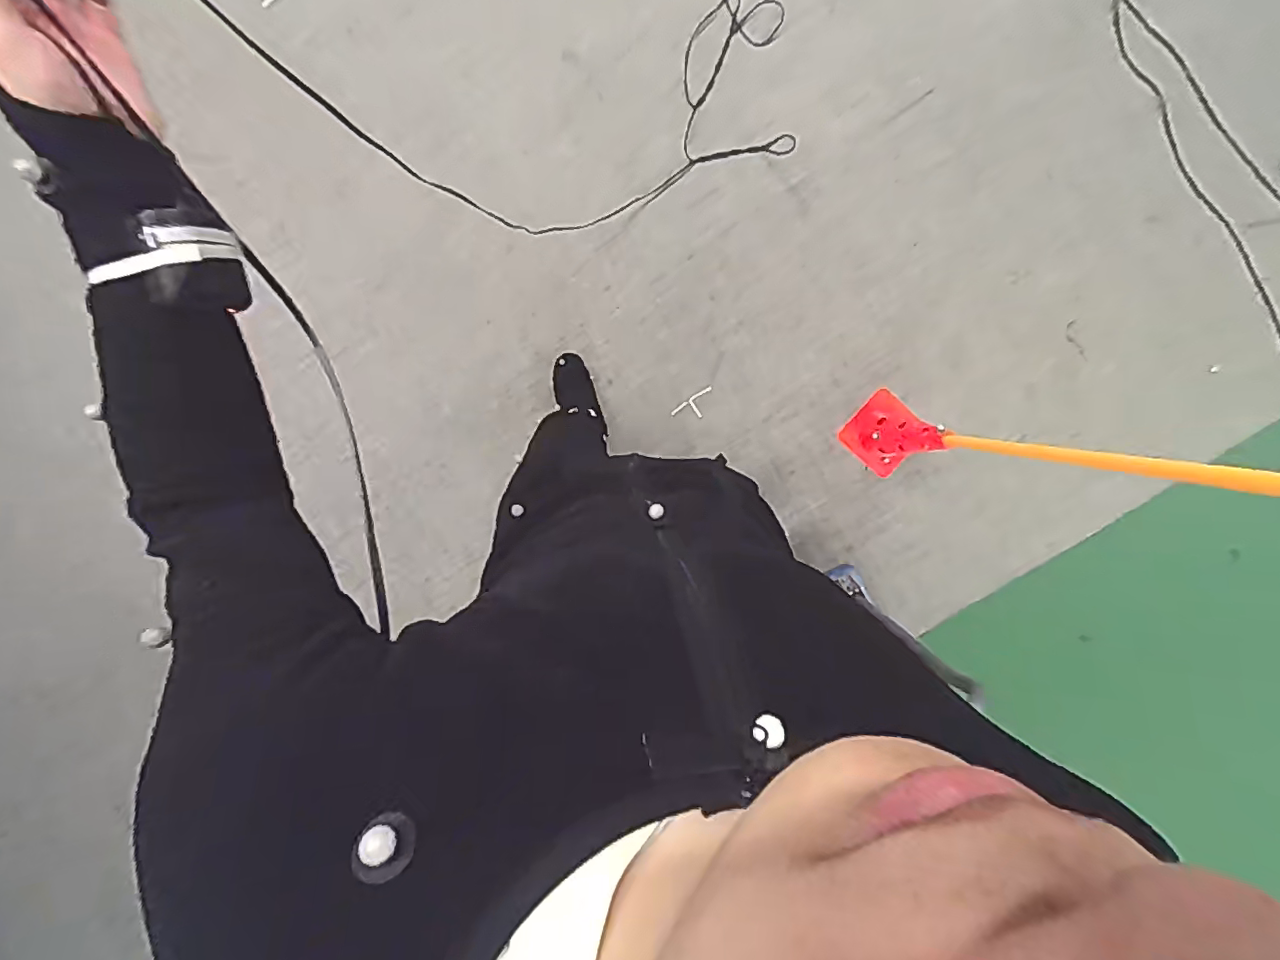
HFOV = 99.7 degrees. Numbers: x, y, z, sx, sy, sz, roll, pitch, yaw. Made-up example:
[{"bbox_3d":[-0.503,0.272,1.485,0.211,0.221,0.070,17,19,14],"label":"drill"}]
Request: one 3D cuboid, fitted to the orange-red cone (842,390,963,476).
[{"bbox_3d":[0.712,-0.116,1.397,0.198,0.360,0.199,42,94,-5],"label":"orange-red cone"}]
